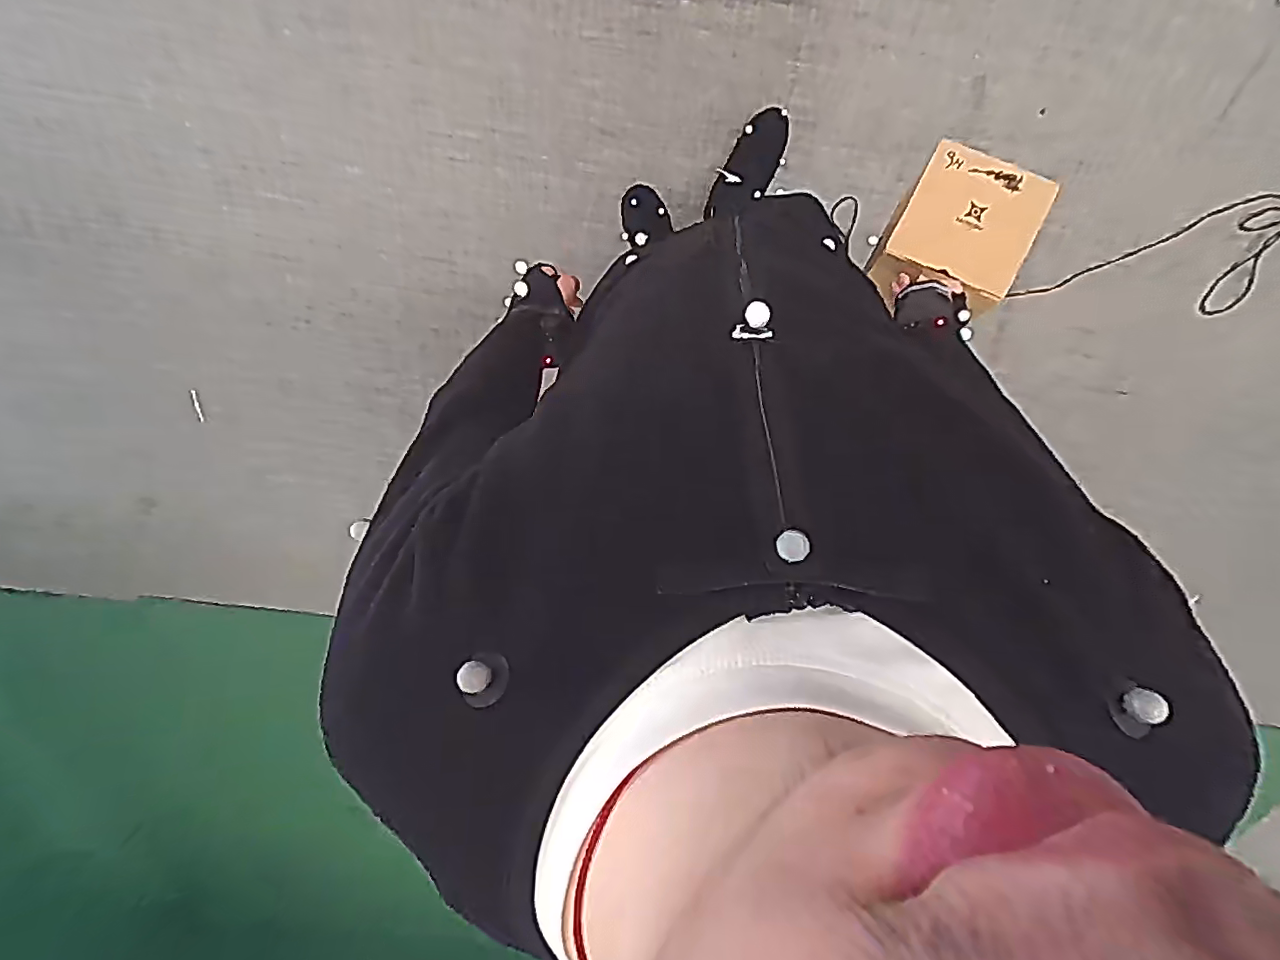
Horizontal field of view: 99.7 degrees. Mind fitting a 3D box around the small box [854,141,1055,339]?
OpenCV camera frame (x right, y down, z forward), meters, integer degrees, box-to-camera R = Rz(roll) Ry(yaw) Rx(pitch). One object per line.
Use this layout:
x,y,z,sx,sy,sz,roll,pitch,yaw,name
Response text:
0.437,-0.333,0.789,0.168,0.176,0.179,28,88,7,small box
